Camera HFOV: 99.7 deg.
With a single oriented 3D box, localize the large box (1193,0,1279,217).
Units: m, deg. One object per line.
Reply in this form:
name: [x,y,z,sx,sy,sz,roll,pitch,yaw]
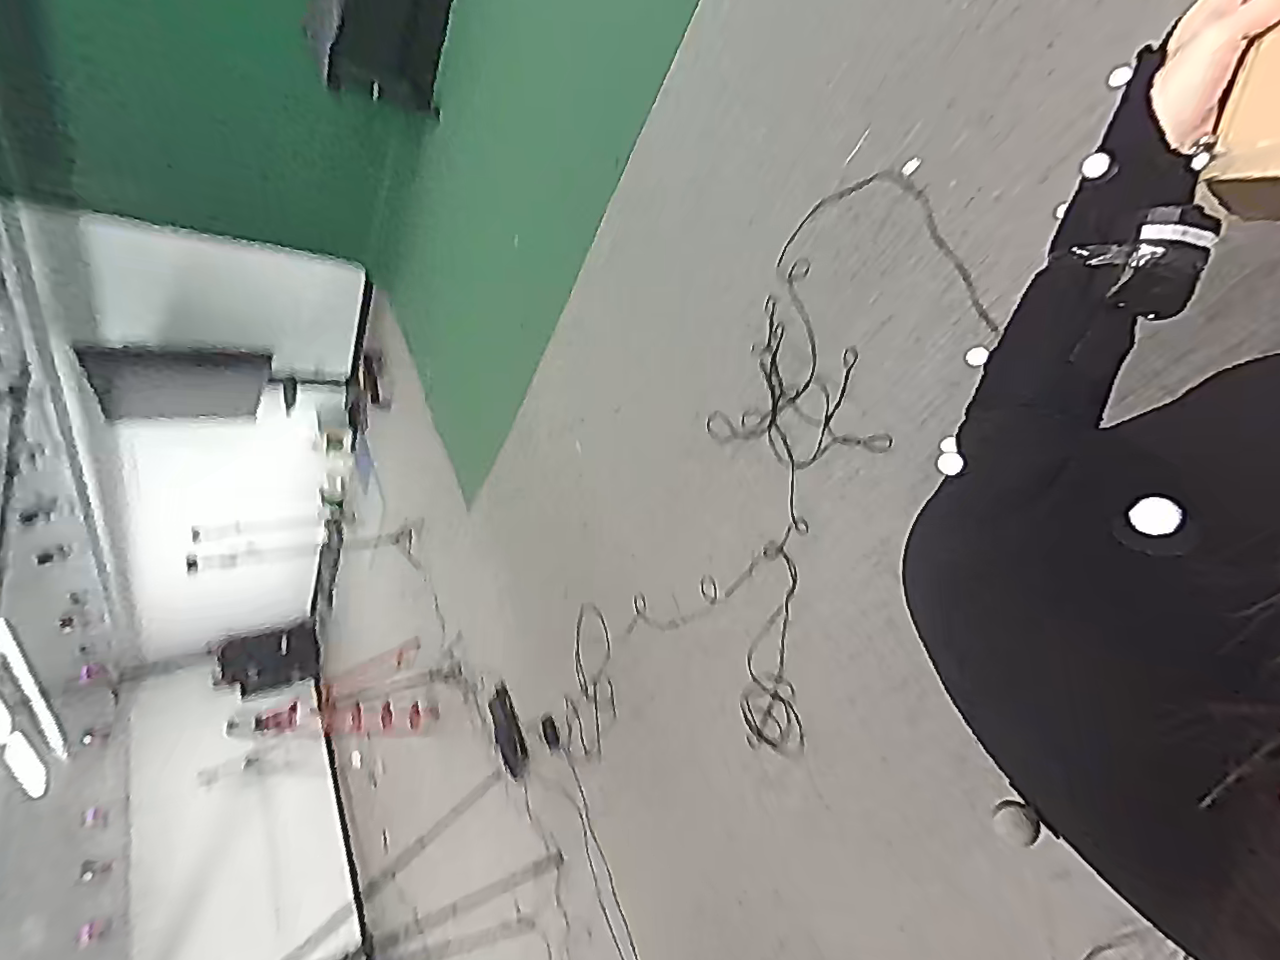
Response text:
large box: [0.639,-0.331,0.281,0.408,0.320,0.320,24,119,46]
